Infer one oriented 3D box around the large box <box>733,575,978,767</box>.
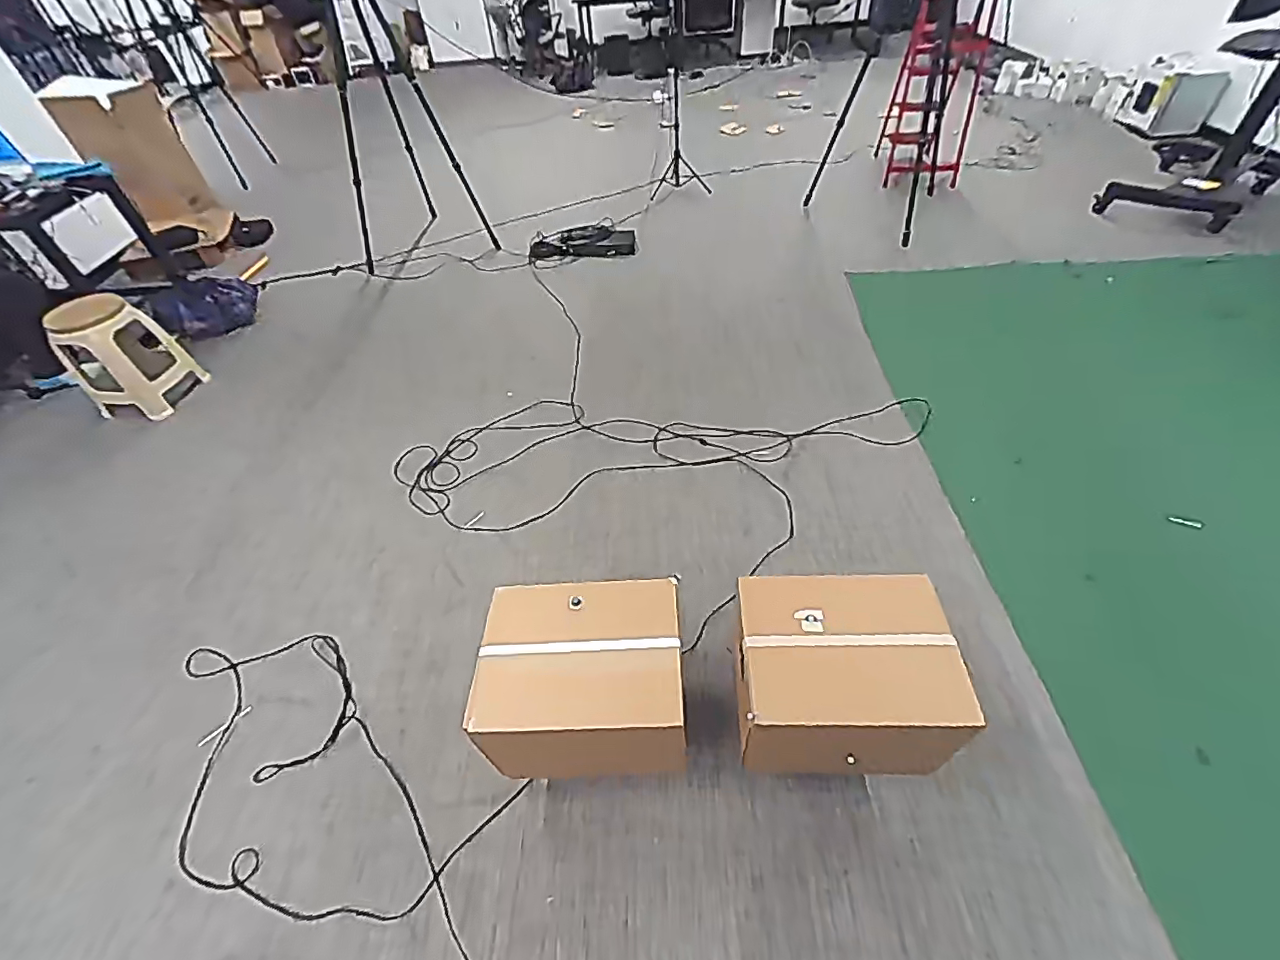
[{"bbox_3d":[0.424,0.423,1.183,0.408,0.320,0.320,-2,47,5],"label":"large box"}]
